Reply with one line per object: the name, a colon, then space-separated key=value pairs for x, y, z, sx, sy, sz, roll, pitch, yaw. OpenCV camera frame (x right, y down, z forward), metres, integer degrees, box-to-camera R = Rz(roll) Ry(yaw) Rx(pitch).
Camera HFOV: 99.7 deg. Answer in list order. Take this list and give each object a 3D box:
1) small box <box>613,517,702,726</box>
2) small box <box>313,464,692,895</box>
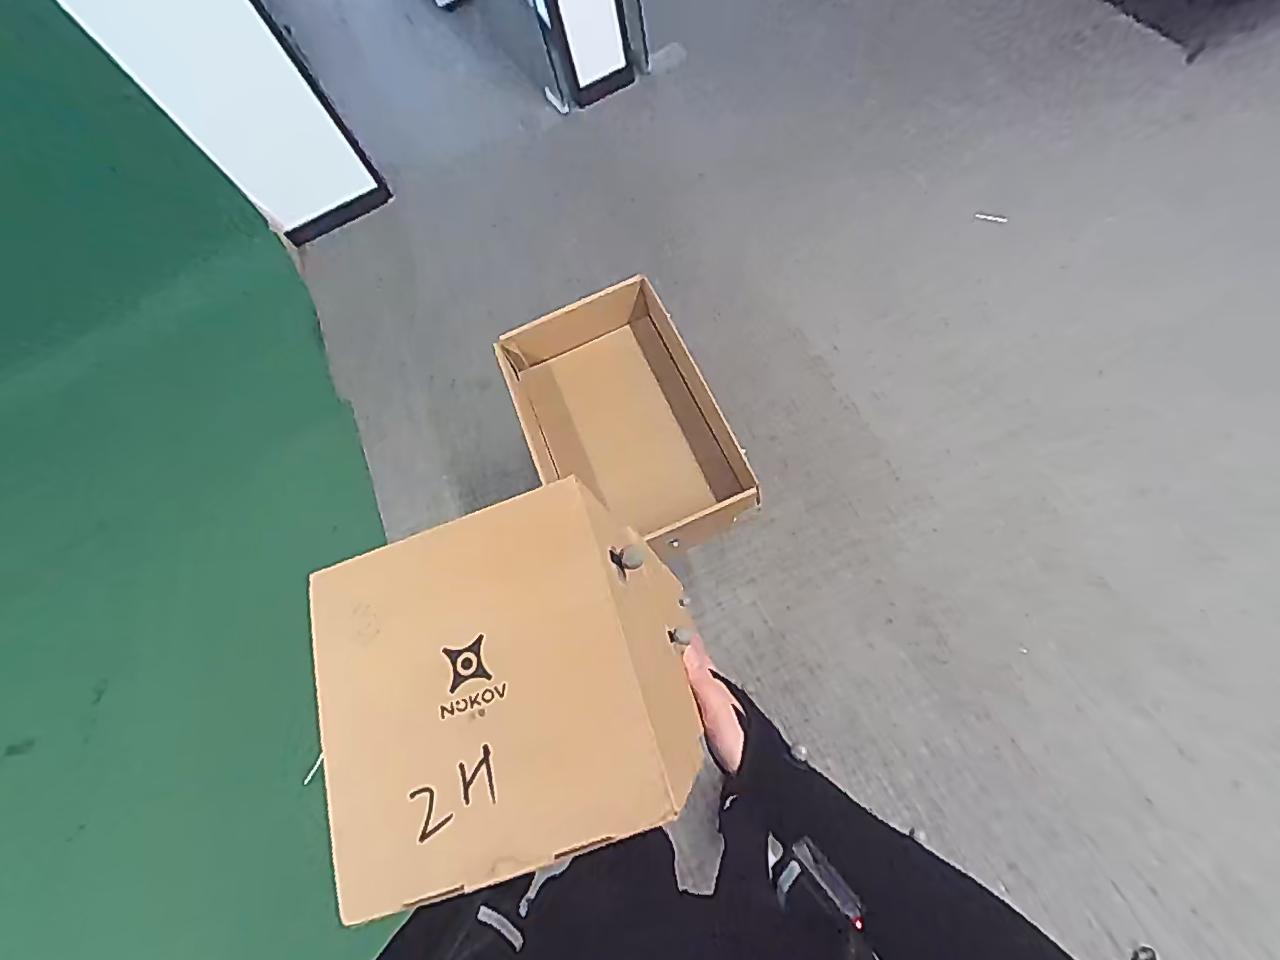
small box: x=-0.047 y=0.158 z=0.512 sx=0.168 sy=0.176 sz=0.179 roll=-20 pitch=69 yaw=4
small box: x=-0.075 y=0.119 z=0.353 sx=0.168 sy=0.176 sz=0.179 roll=-21 pitch=68 yaw=4
